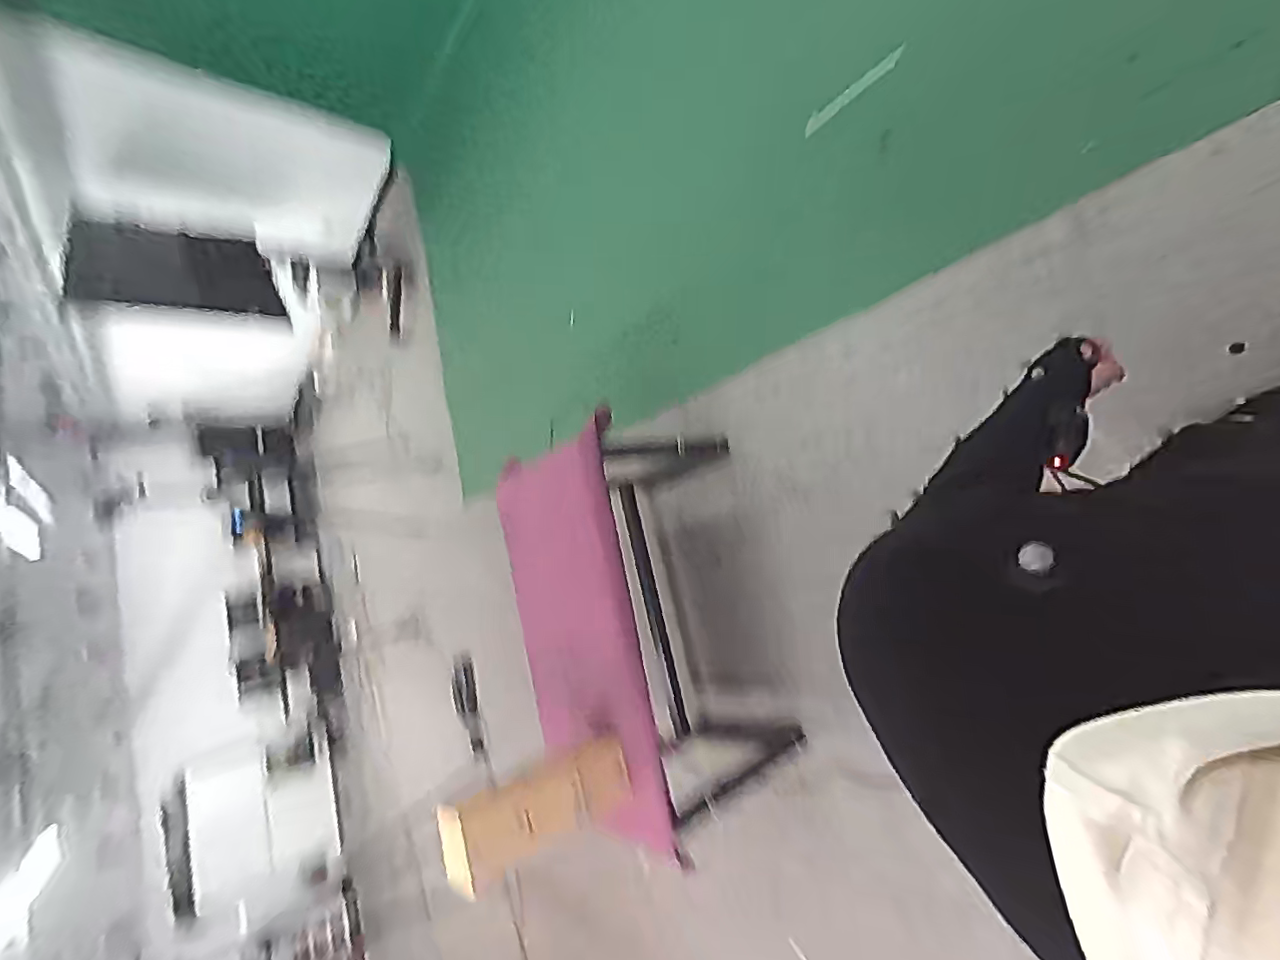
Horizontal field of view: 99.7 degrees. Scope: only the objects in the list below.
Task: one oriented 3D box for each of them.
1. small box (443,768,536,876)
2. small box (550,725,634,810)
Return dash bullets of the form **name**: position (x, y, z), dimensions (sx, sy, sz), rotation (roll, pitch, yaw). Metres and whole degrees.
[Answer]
- **small box**: position (-0.391, 0.873, 1.403), dimensions (0.179, 0.176, 0.168), rotation (-24, 77, 49)
- **small box**: position (-0.143, 0.848, 1.615), dimensions (0.179, 0.176, 0.168), rotation (-23, 78, 48)
